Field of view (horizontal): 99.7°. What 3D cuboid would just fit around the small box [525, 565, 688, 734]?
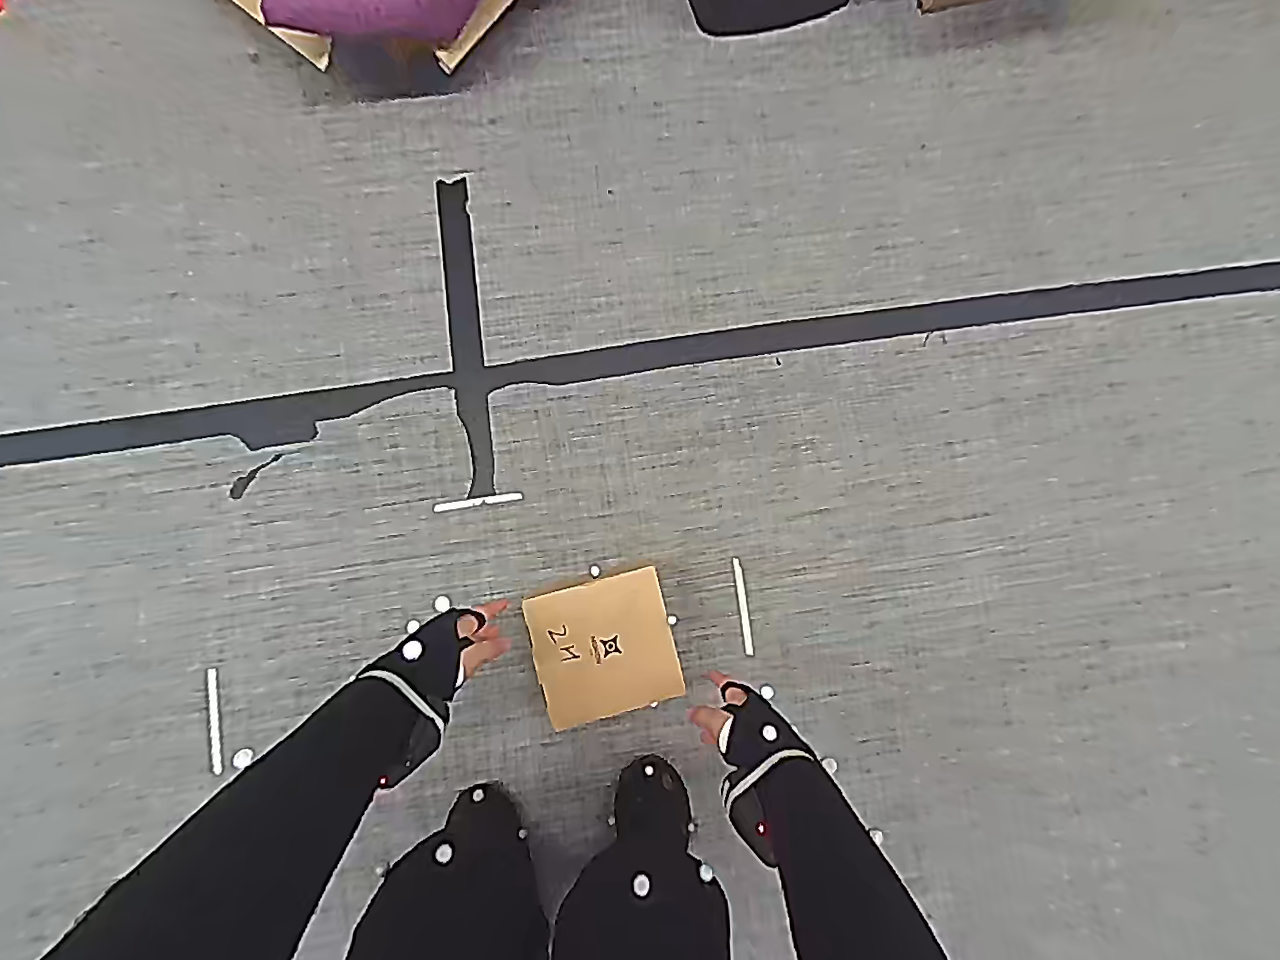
[{"bbox_3d":[-0.047,0.219,0.750,0.179,0.176,0.168,-14,85,-4],"label":"small box"}]
